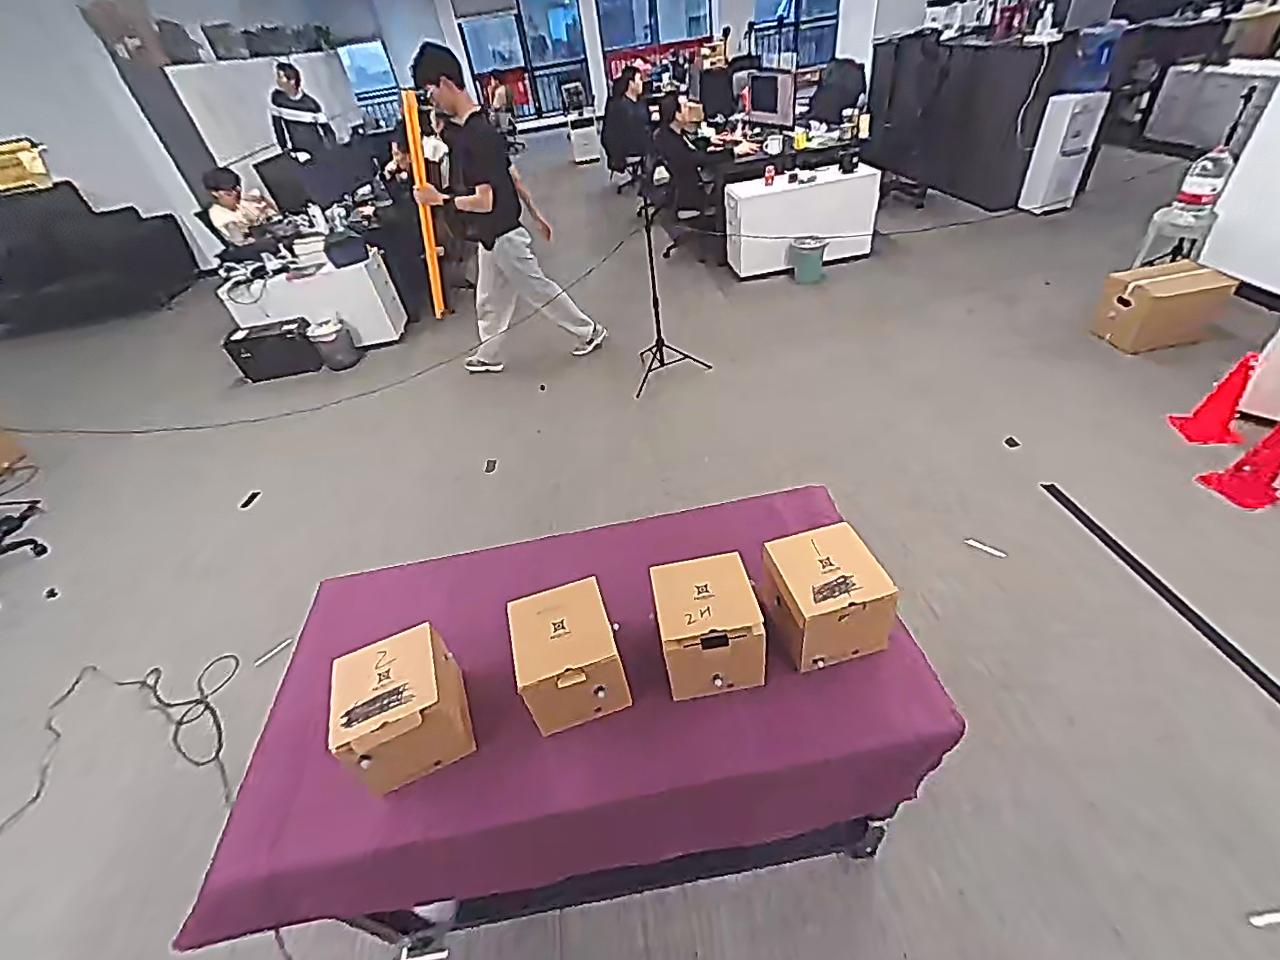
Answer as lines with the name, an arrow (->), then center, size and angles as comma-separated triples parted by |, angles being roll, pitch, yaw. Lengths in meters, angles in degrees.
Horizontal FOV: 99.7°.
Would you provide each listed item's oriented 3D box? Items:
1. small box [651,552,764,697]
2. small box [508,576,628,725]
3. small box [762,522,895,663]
small box -> 0.116, 0.258, 0.968 | 0.168, 0.176, 0.179 | -10, 40, 0
small box -> -0.126, 0.308, 0.961 | 0.168, 0.176, 0.179 | -16, 40, -8
small box -> 0.330, 0.209, 0.981 | 0.168, 0.176, 0.179 | -14, 40, -4
